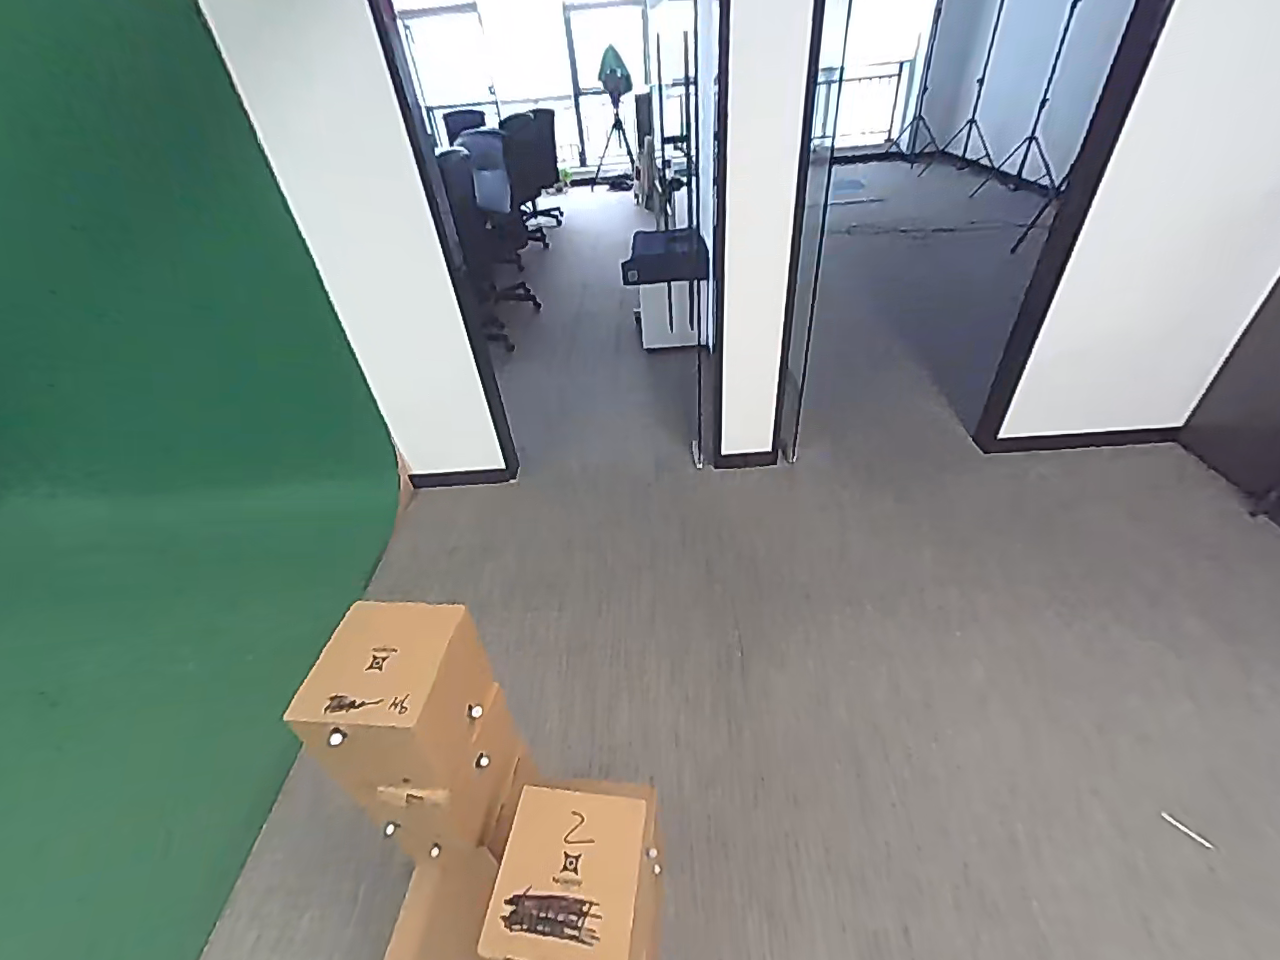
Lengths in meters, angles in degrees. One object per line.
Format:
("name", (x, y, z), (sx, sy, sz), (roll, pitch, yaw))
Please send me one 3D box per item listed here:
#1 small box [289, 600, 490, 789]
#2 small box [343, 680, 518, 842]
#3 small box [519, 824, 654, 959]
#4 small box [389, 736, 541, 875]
("small box", (-0.320, 0.288, 0.738), (0.168, 0.176, 0.179), (0, 38, 8))
("small box", (-0.305, 0.421, 0.834), (0.168, 0.176, 0.179), (5, 38, 13))
("small box", (-0.066, 0.638, 0.798), (0.168, 0.176, 0.179), (-1, 39, 5))
("small box", (-0.288, 0.551, 0.934), (0.179, 0.176, 0.168), (4, 40, 10))
